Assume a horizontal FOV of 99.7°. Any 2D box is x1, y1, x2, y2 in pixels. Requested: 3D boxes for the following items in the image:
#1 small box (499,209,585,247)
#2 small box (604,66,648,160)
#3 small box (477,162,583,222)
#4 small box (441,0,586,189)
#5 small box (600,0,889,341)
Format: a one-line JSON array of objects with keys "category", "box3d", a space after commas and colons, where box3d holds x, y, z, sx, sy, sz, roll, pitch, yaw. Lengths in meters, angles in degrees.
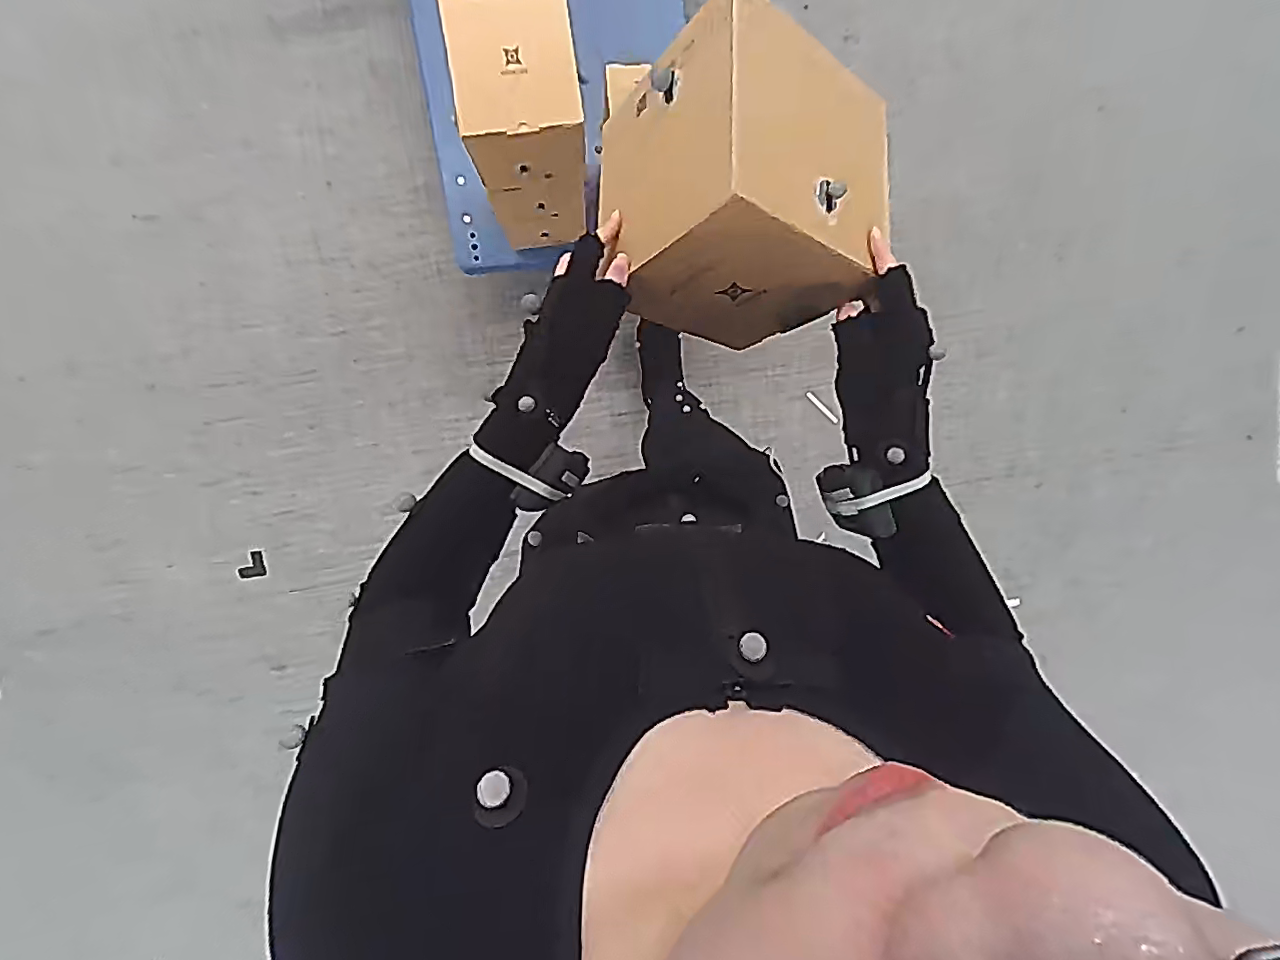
[{"category": "small box", "box3d": [-0.207, -0.593, 1.111, 0.168, 0.176, 0.179, -9, 97, -4]}, {"category": "small box", "box3d": [0.025, -0.595, 0.963, 0.168, 0.176, 0.179, -6, 98, -4]}, {"category": "small box", "box3d": [-0.194, -0.570, 0.948, 0.168, 0.176, 0.179, -11, 99, -4]}, {"category": "small box", "box3d": [-0.172, -0.555, 0.787, 0.168, 0.176, 0.179, -9, 98, -4]}, {"category": "small box", "box3d": [0.084, -0.241, 0.452, 0.179, 0.168, 0.176, 9, 78, -35]}]
